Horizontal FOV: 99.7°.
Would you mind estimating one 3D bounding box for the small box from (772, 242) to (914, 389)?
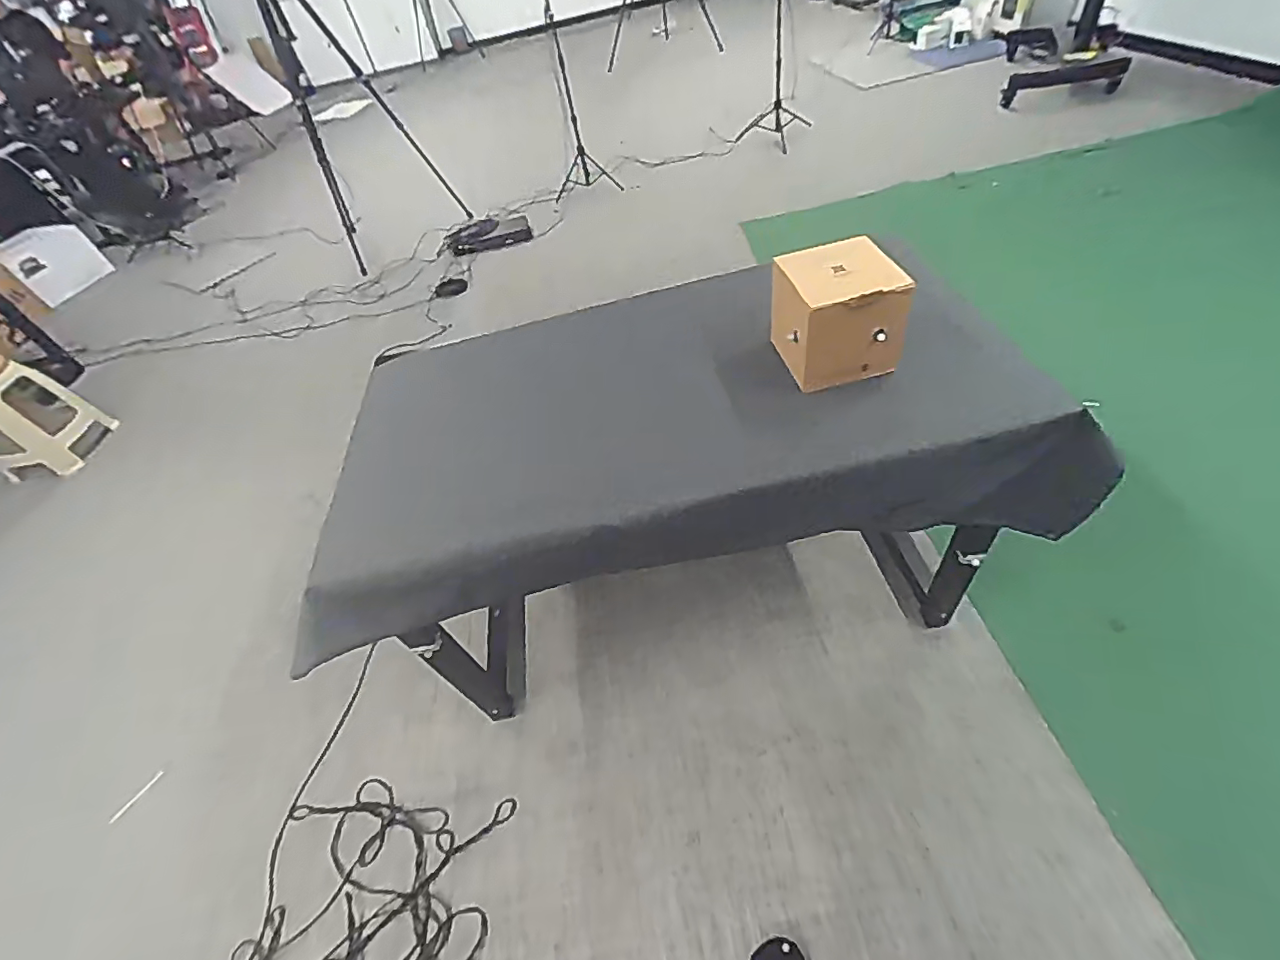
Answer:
[{"bbox_3d":[0.332,-0.271,0.919,0.168,0.176,0.179,-13,46,0],"label":"small box"}]
